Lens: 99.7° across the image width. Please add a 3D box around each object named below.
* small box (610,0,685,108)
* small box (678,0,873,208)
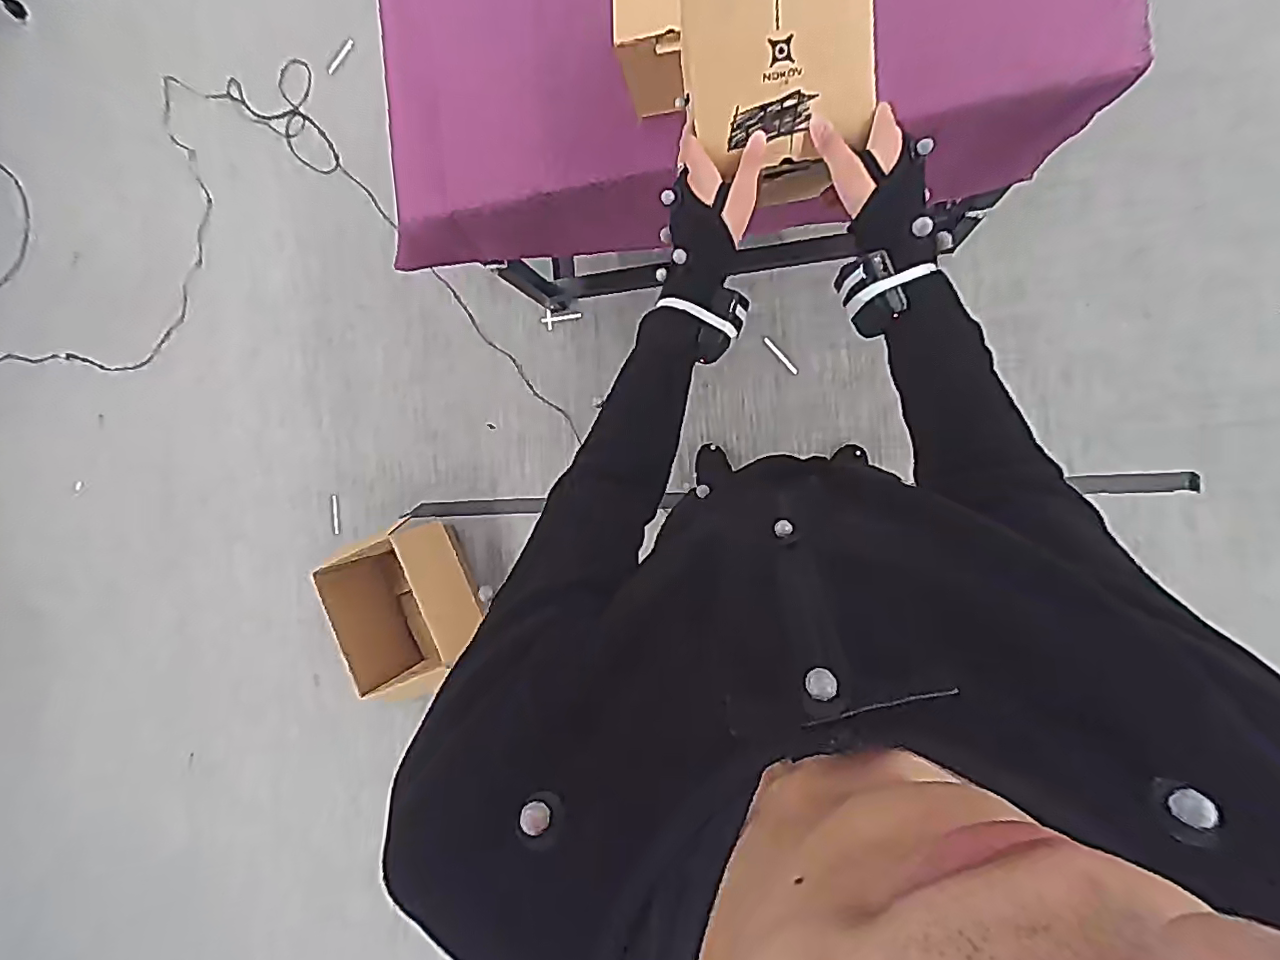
[{"bbox_3d":[0.056,-0.705,0.825,0.168,0.176,0.179,0,91,12],"label":"small box"},{"bbox_3d":[0.132,-0.399,0.564,0.168,0.176,0.179,-7,104,6],"label":"small box"}]
